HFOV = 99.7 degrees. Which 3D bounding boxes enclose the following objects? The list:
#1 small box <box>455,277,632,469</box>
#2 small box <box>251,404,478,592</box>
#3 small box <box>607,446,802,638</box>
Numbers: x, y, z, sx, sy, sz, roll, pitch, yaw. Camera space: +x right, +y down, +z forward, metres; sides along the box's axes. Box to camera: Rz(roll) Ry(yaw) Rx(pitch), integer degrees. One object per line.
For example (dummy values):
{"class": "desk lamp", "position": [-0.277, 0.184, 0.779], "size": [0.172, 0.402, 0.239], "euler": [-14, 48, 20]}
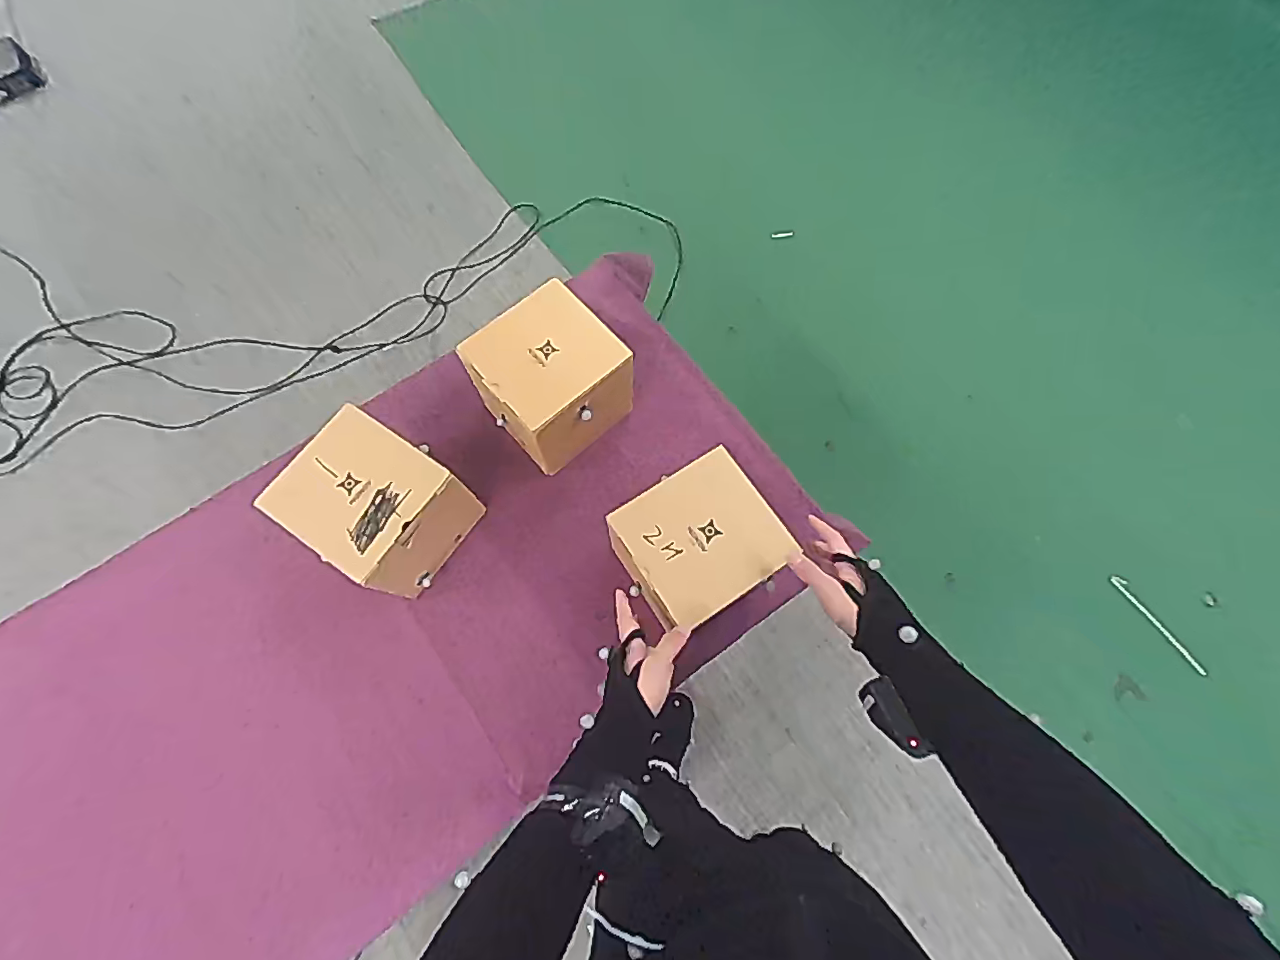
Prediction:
{"class": "small box", "position": [-0.129, -0.146, 0.784], "size": [0.179, 0.176, 0.168], "euler": [-41, 78, -11]}
{"class": "small box", "position": [-0.347, 0.036, 0.722], "size": [0.179, 0.176, 0.168], "euler": [33, 75, 10]}
{"class": "small box", "position": [0.074, 0.088, 0.706], "size": [0.179, 0.176, 0.168], "euler": [-32, 74, -9]}
